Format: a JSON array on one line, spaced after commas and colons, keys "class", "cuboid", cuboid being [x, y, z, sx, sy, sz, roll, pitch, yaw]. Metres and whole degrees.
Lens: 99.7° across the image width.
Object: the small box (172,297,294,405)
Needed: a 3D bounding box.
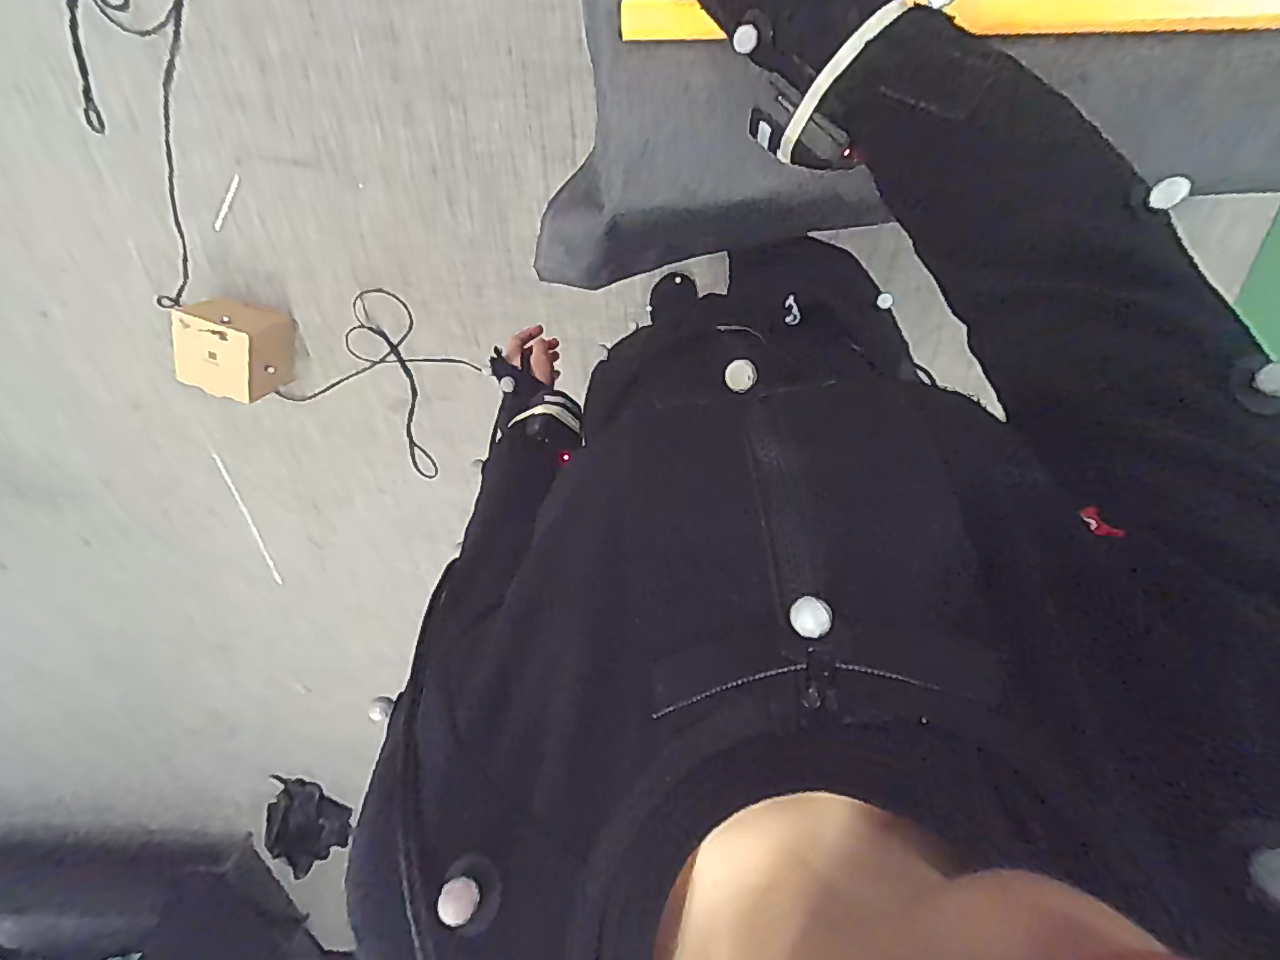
[{"class": "small box", "cuboid": [-0.949, -0.308, 1.275, 0.168, 0.176, 0.179, 19, 118, -6]}]
